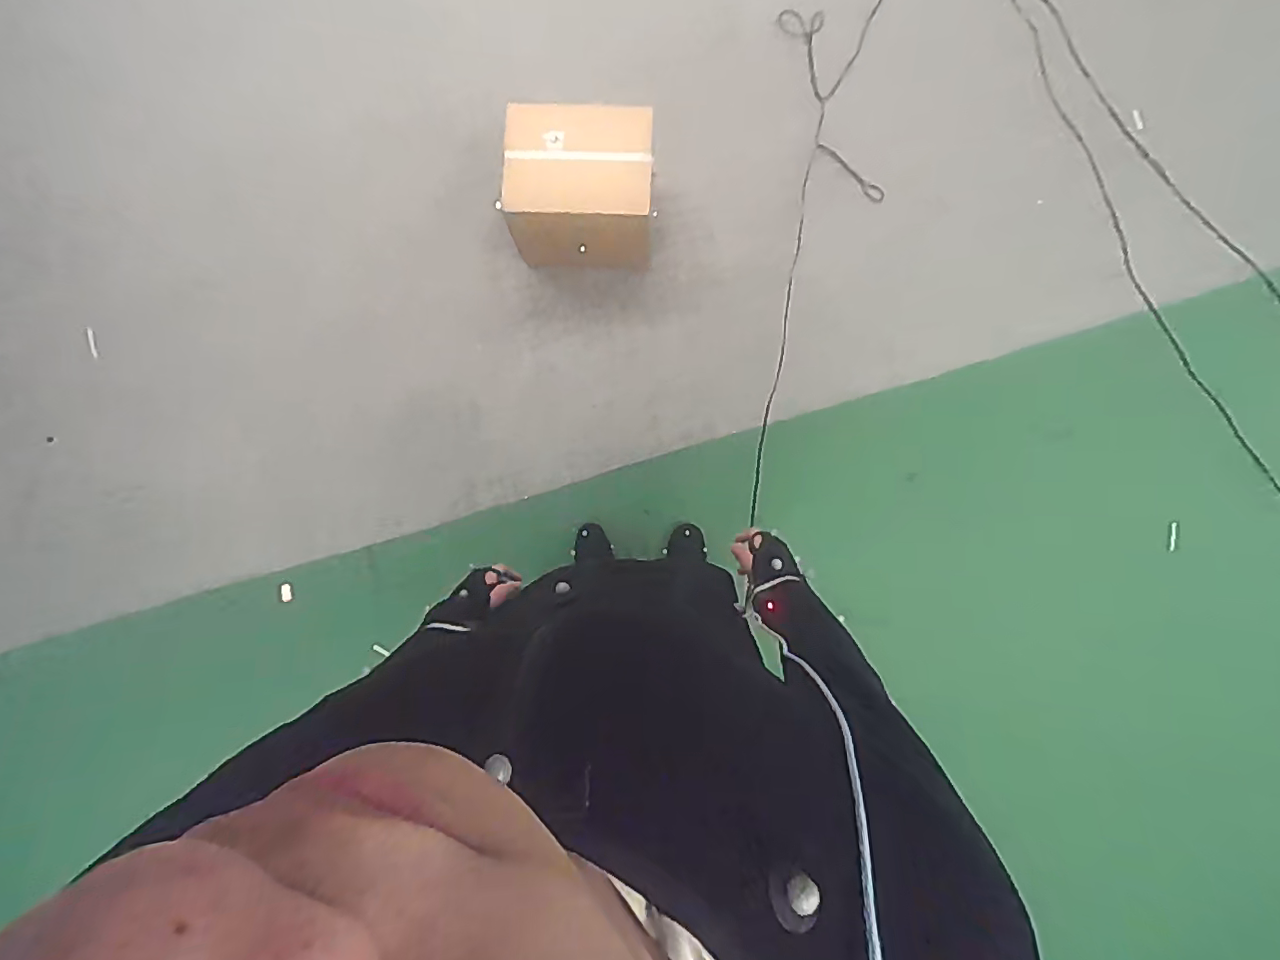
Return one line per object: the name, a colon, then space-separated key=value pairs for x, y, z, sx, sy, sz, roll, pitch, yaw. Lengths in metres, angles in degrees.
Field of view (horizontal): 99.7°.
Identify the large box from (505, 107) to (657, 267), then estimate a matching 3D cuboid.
large box: x=-0.153 y=-0.851 z=1.606 sx=0.408 sy=0.320 sz=0.320 roll=2 pitch=84 yaw=2
